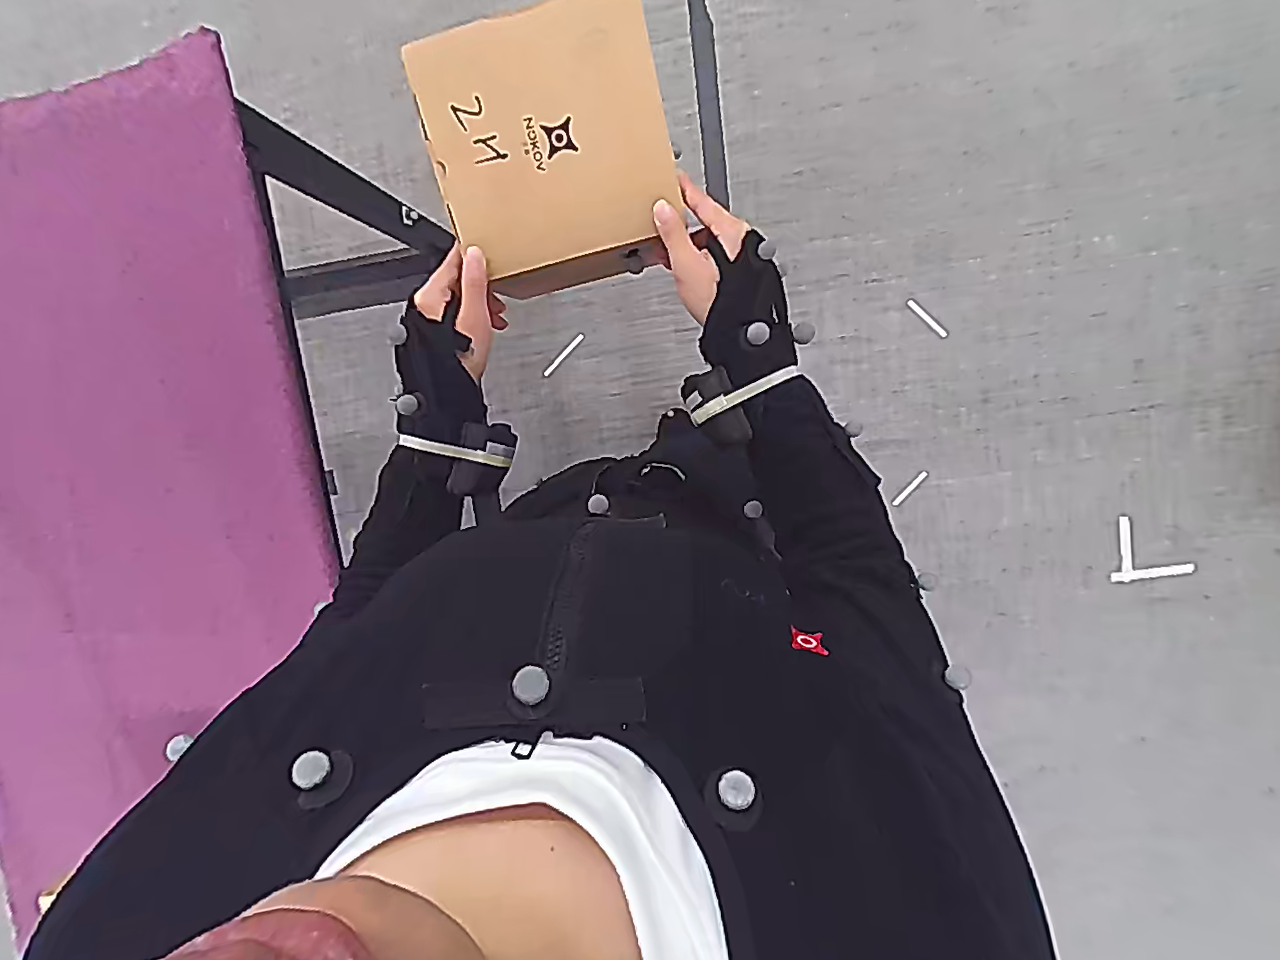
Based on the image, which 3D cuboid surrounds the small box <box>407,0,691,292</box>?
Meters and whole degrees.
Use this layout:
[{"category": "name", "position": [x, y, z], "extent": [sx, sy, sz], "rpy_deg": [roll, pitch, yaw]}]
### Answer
[{"category": "small box", "position": [-0.062, -0.270, 0.468], "extent": [0.179, 0.176, 0.168], "rpy_deg": [-12, 103, 5]}]

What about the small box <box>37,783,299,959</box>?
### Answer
[{"category": "small box", "position": [-0.577, 0.520, 0.691], "extent": [0.179, 0.176, 0.168], "rpy_deg": [-13, 96, 9]}]
